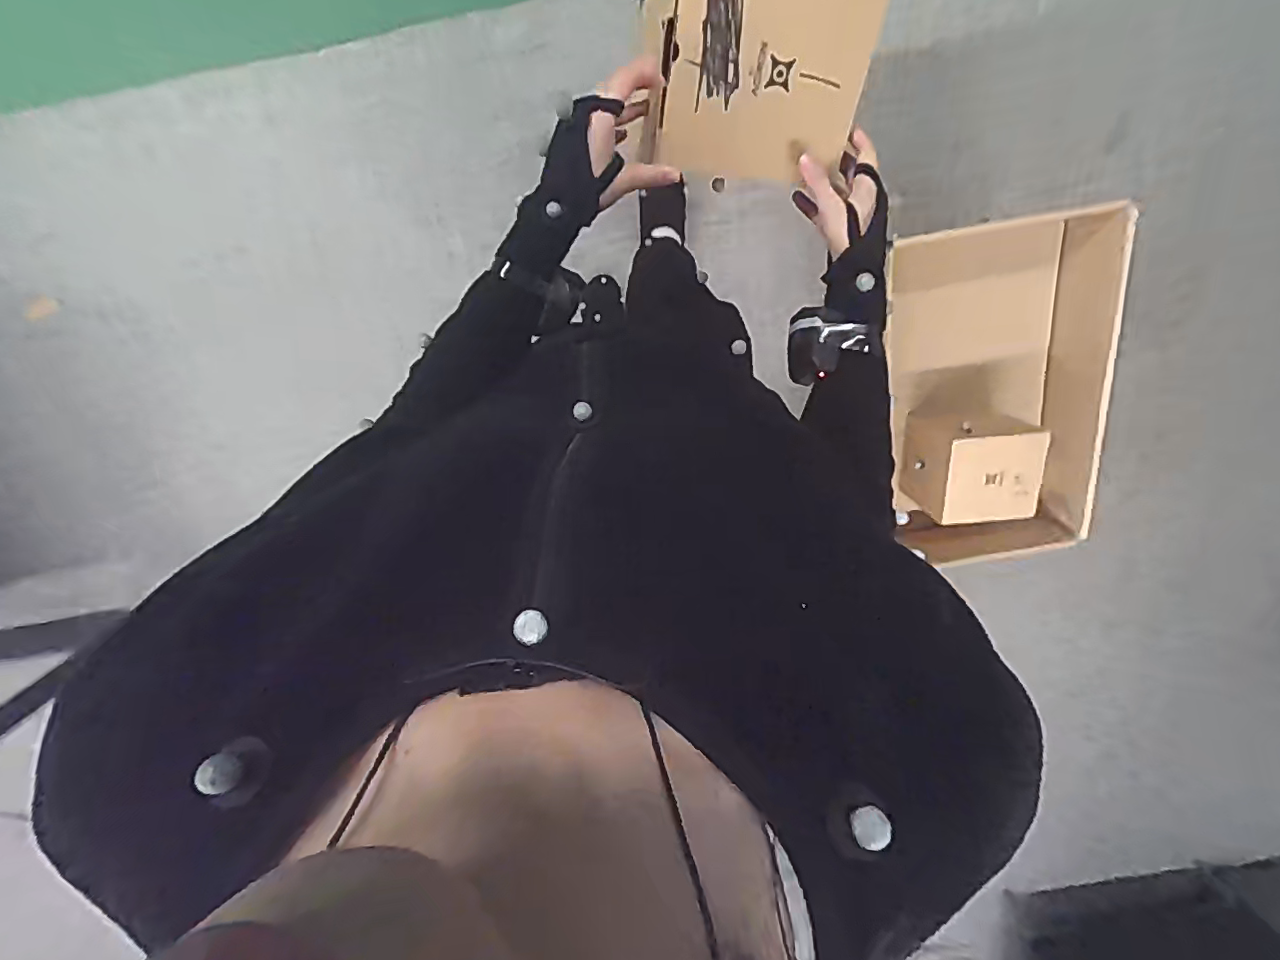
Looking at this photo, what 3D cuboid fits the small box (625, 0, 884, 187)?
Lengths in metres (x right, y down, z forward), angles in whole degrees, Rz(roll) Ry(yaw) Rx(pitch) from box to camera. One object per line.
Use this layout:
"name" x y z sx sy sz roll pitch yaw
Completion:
"small box" 0.088 -0.383 0.499 0.179 0.176 0.168 -1 126 -13

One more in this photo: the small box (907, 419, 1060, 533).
"small box" 0.631 -0.013 1.020 0.179 0.176 0.168 -4 110 0
